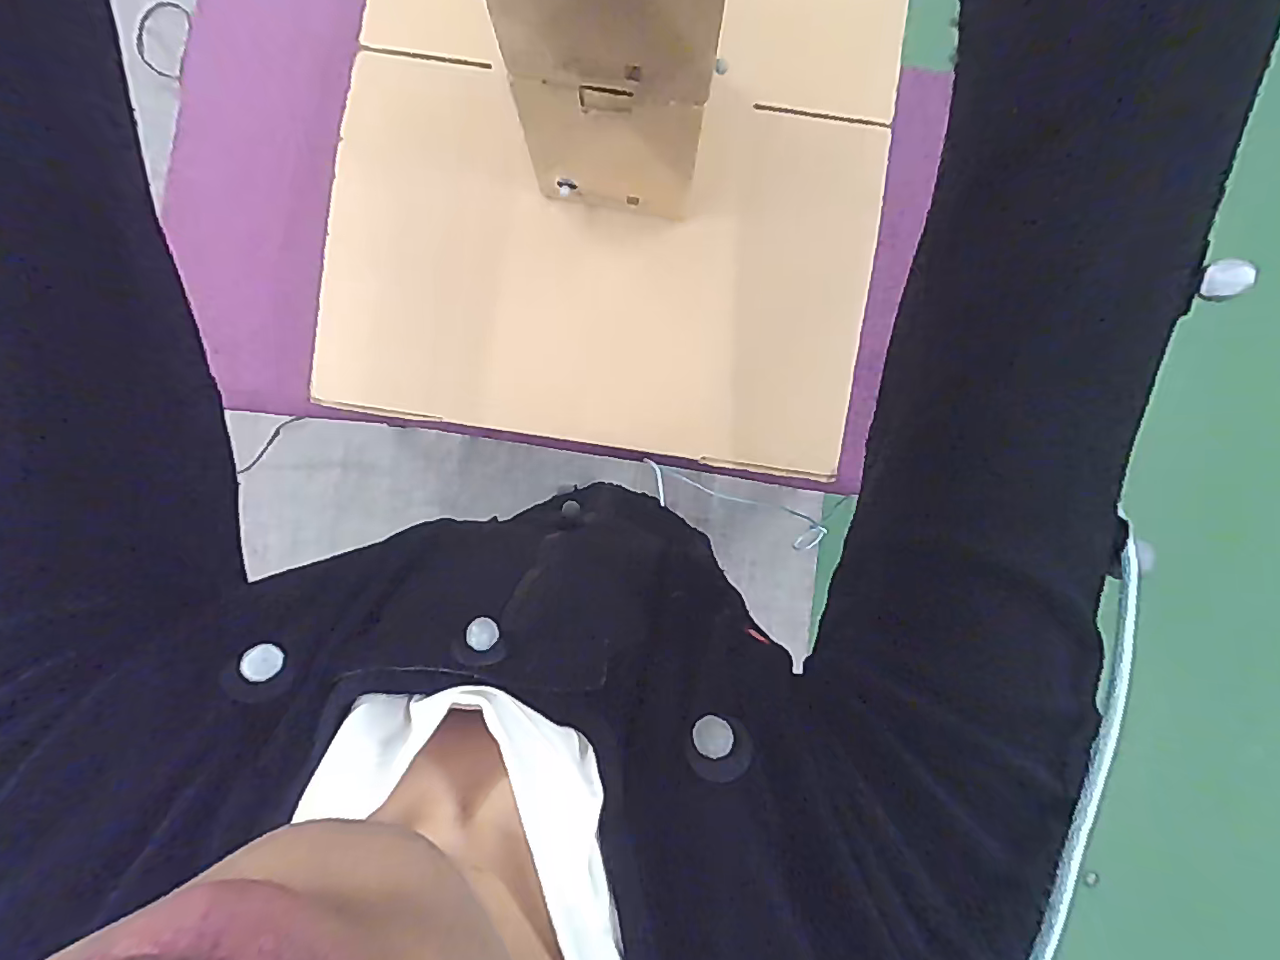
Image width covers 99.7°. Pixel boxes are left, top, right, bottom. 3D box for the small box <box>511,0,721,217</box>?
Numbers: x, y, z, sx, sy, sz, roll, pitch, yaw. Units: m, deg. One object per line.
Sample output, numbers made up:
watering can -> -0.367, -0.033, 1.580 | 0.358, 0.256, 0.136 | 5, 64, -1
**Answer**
small box -> -0.015, -0.384, 0.524 | 0.168, 0.176, 0.179 | 6, 88, -1
